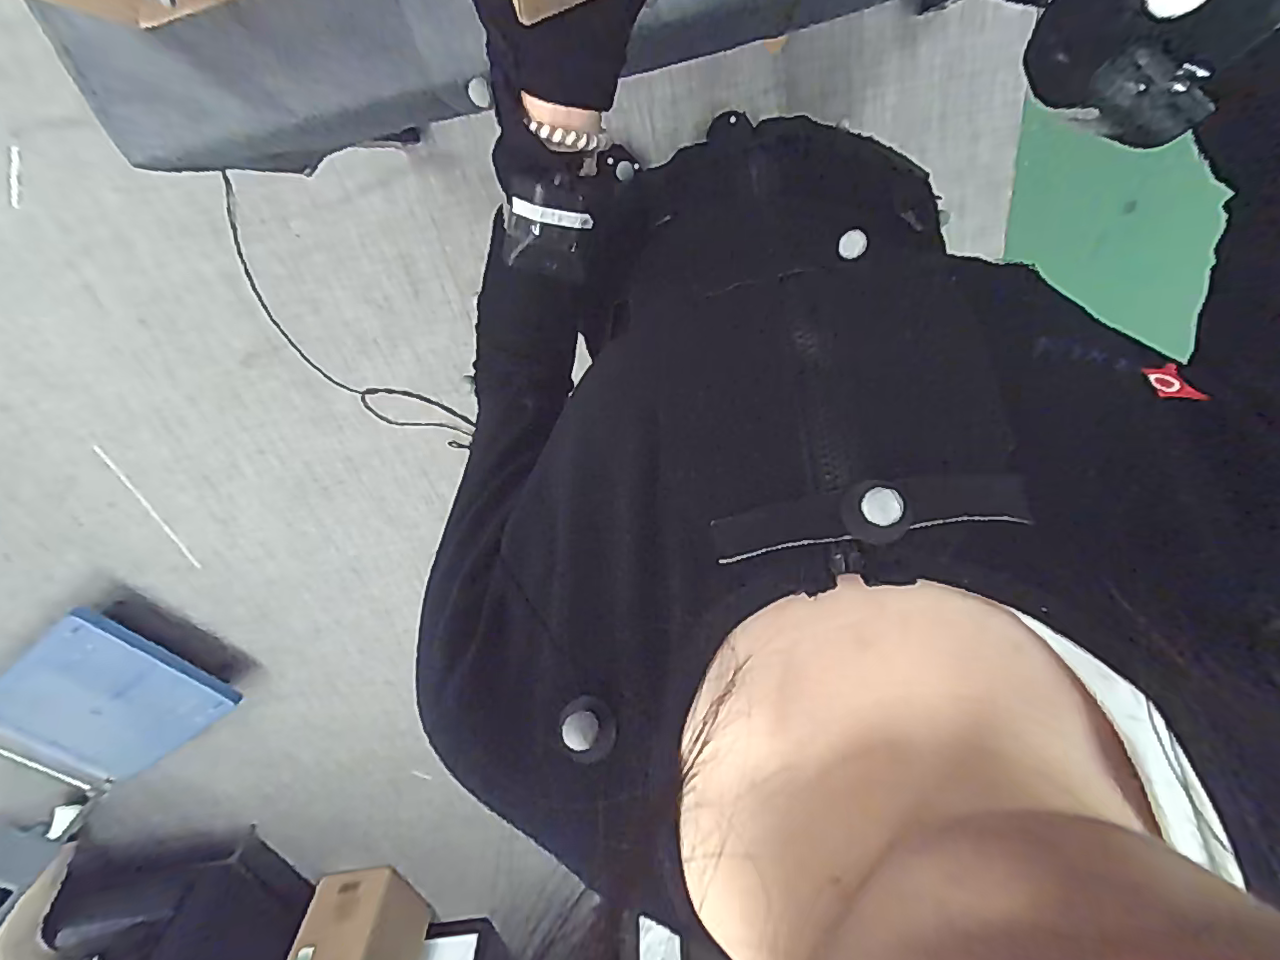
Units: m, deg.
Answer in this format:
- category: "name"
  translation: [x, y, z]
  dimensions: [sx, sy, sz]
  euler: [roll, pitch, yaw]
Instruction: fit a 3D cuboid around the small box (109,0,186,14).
- category: "small box"
  translation: [-0.418, -0.485, 0.391]
  dimensions: [0.168, 0.176, 0.179]
  euler: [-13, 121, 6]
